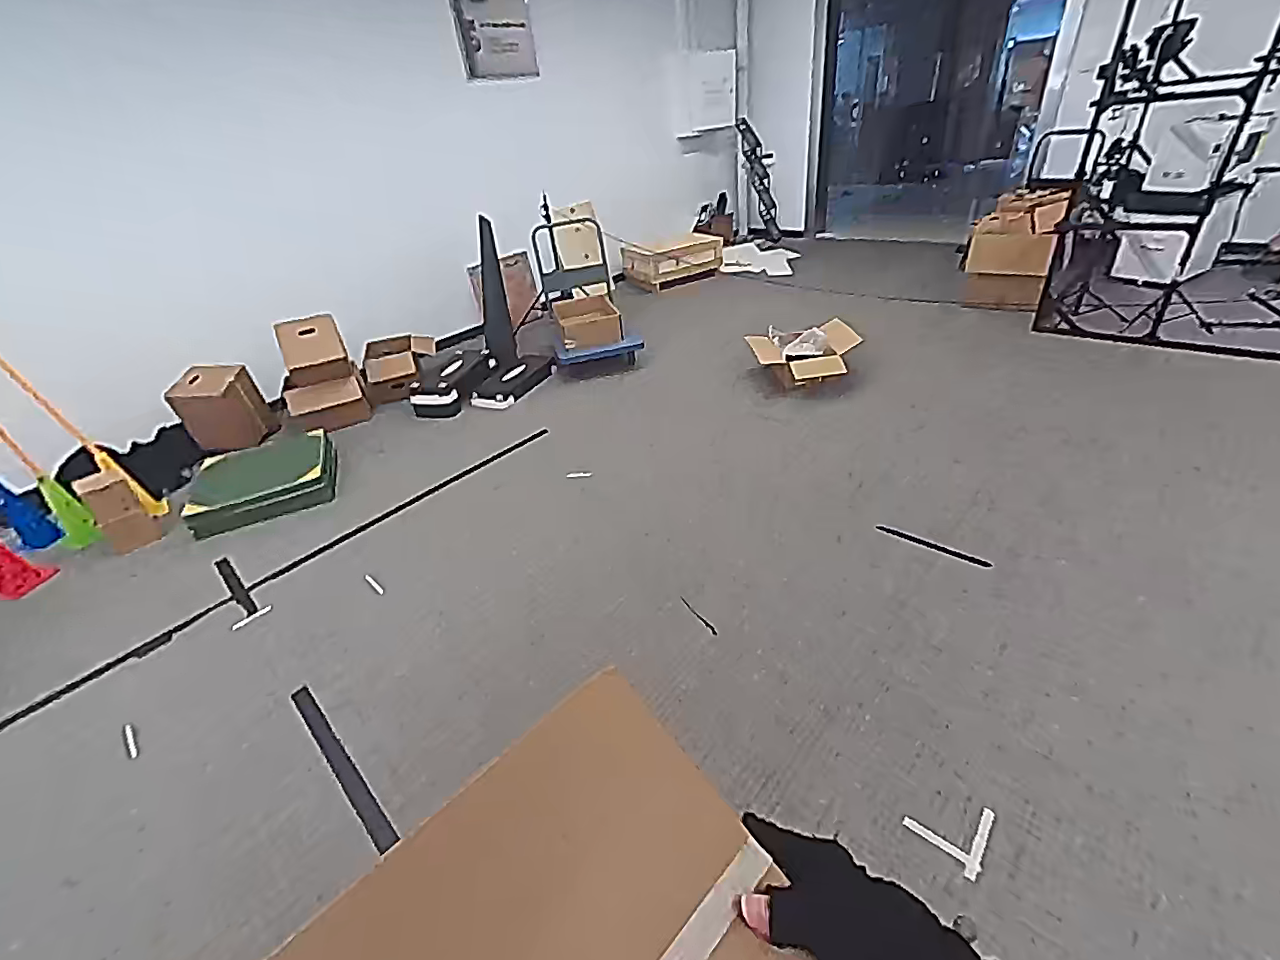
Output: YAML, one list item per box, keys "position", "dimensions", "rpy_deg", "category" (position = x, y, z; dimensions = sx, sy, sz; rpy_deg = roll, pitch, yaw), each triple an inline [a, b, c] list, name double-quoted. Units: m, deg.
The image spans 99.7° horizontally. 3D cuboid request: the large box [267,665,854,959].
- position: [-0.102, 0.417, 0.377]
  dimensions: [0.408, 0.320, 0.320]
  rpy_deg: [-32, 73, -34]
  category: "large box"
